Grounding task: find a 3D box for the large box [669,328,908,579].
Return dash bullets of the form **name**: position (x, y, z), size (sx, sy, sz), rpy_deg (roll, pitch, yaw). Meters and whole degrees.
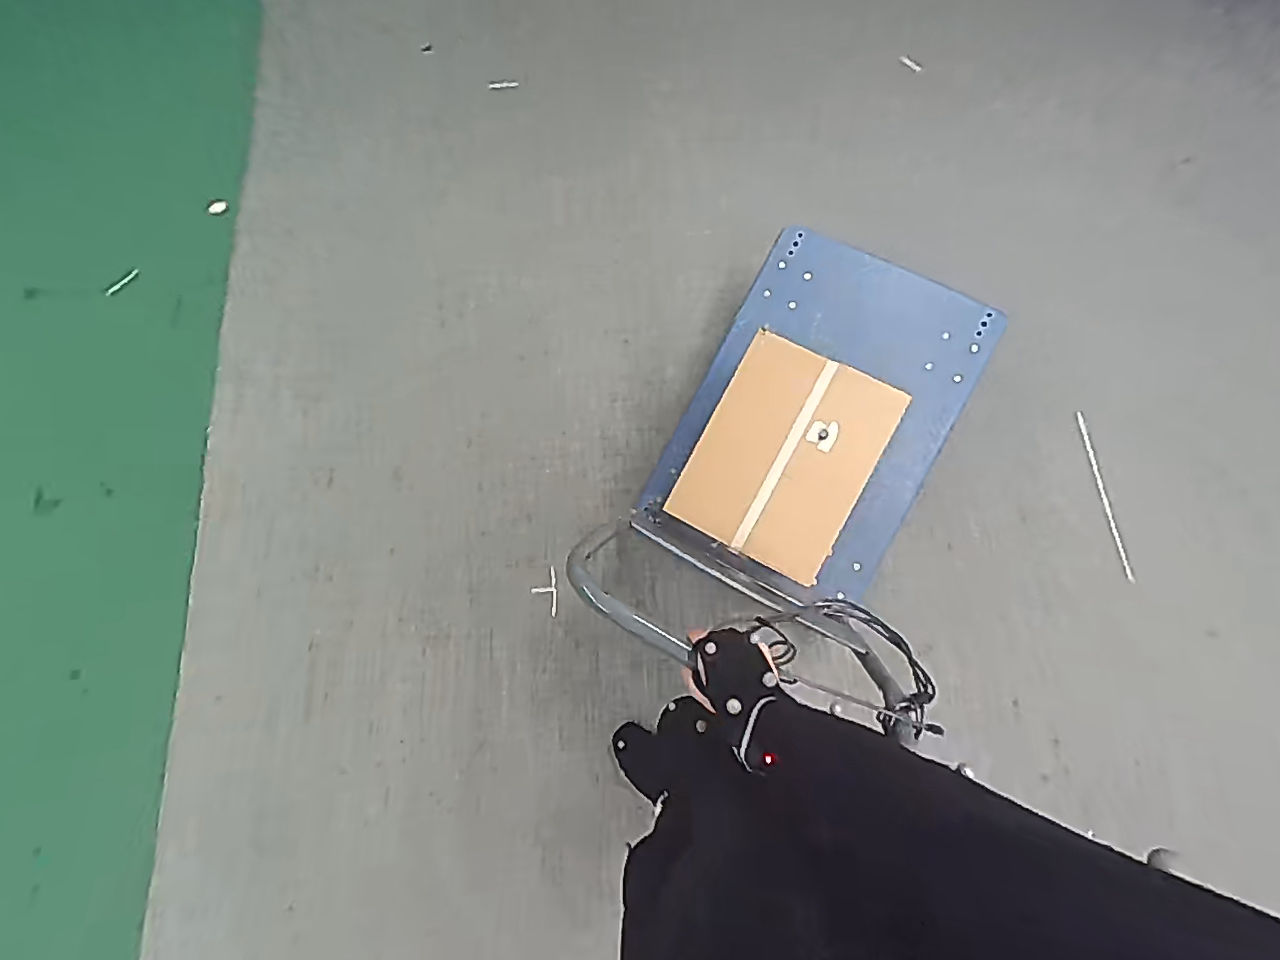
- **large box**: position (0.302, -0.042, 1.176), size (0.320, 0.320, 0.408), rpy_deg (29, 90, 10)
